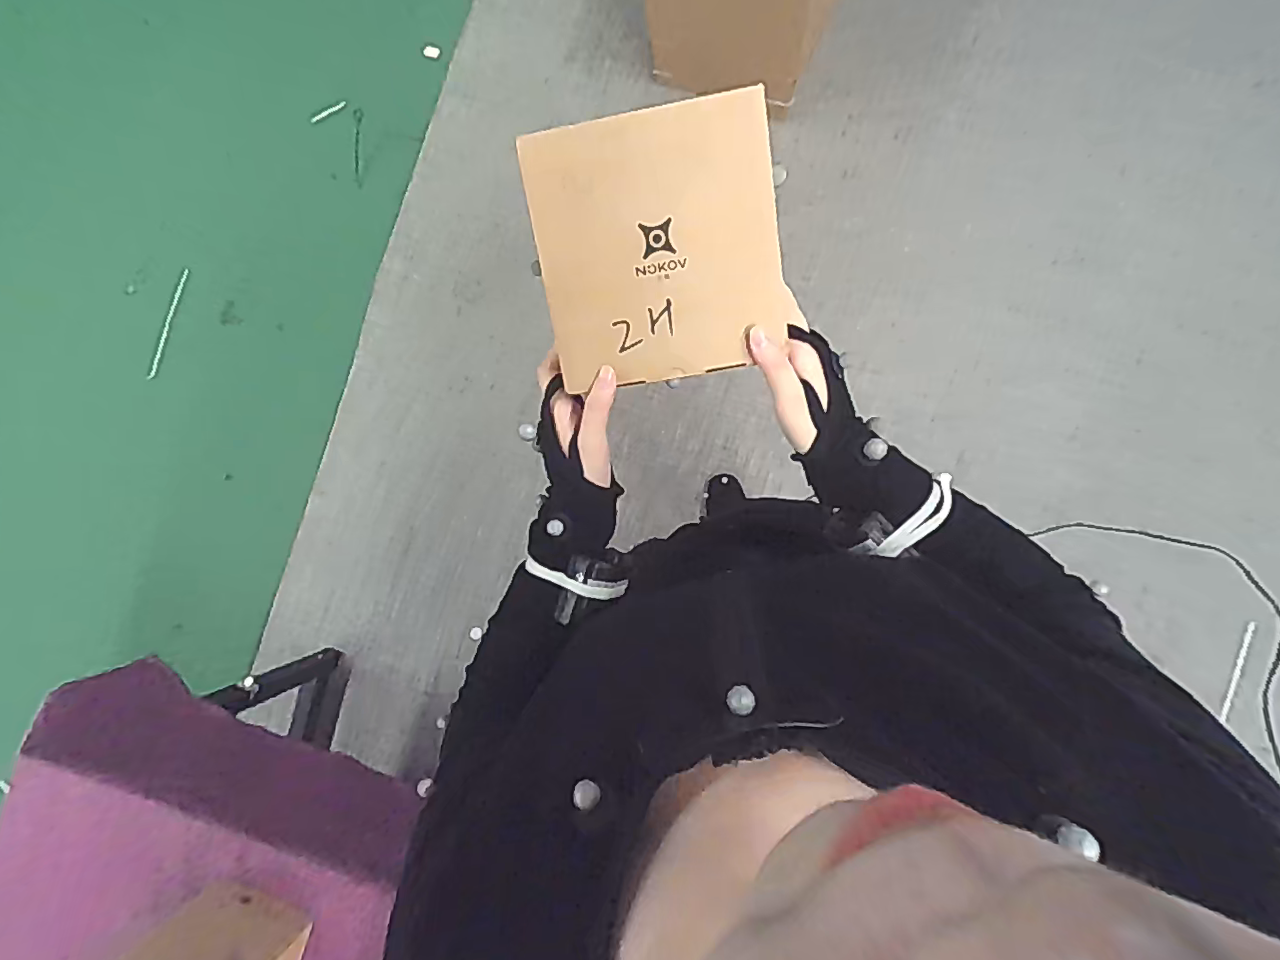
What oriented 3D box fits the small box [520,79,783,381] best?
[{"bbox_3d":[0.015,-0.185,0.450,0.168,0.176,0.179,-8,104,6],"label":"small box"}]
